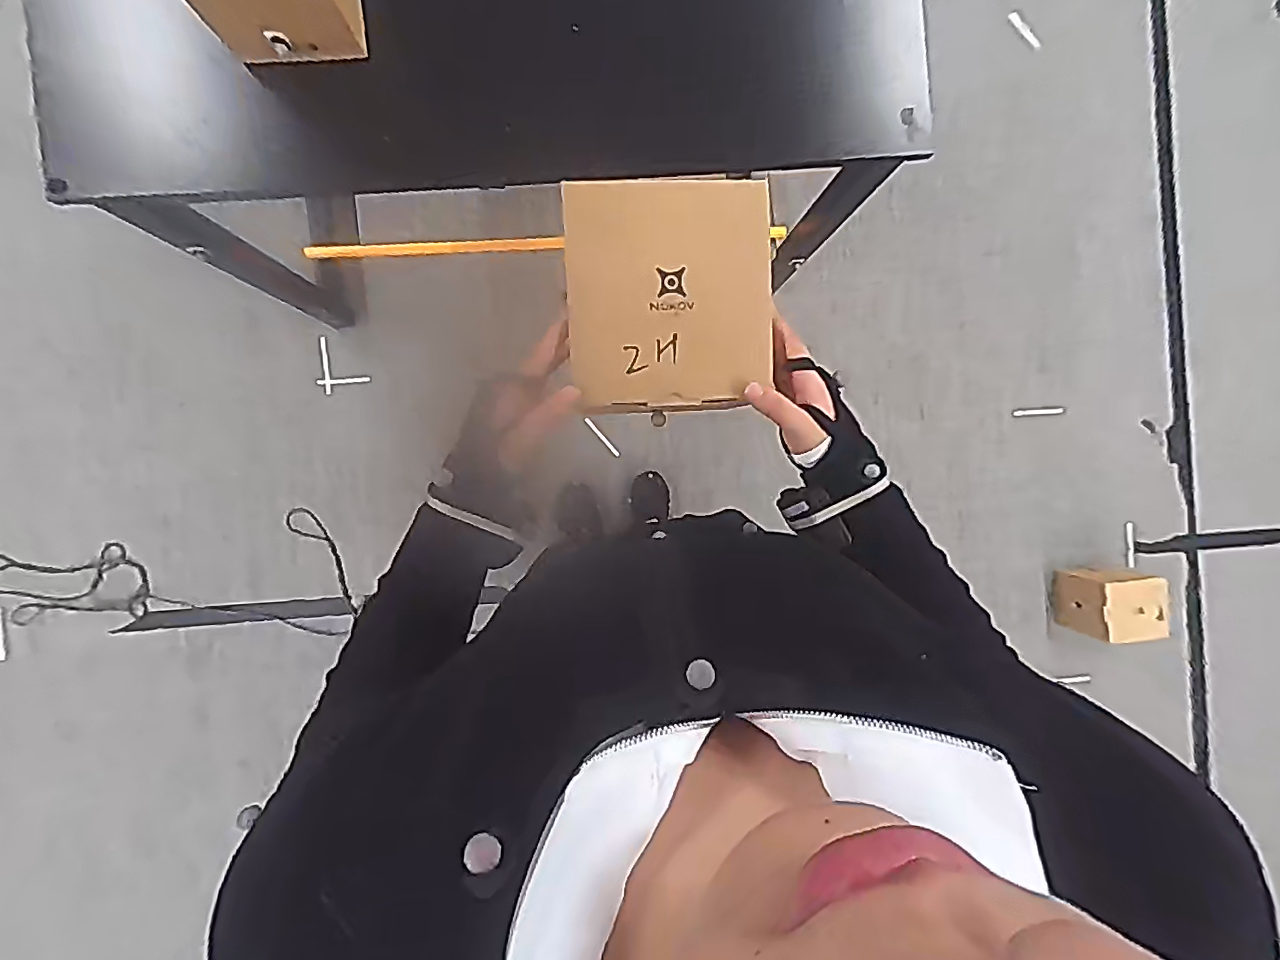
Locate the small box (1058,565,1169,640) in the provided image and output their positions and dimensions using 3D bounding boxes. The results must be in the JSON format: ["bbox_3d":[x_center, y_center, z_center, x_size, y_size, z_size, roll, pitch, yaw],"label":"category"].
[{"bbox_3d":[1.314,0.337,1.515,0.179,0.176,0.168,-5,92,-3],"label":"small box"}]

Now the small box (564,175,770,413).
[{"bbox_3d":[0.016,-0.159,0.512,0.168,0.176,0.179,-3,94,-4],"label":"small box"}]

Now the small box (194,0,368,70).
[{"bbox_3d":[-0.452,-0.641,0.646,0.168,0.176,0.179,-7,93,-3],"label":"small box"}]
